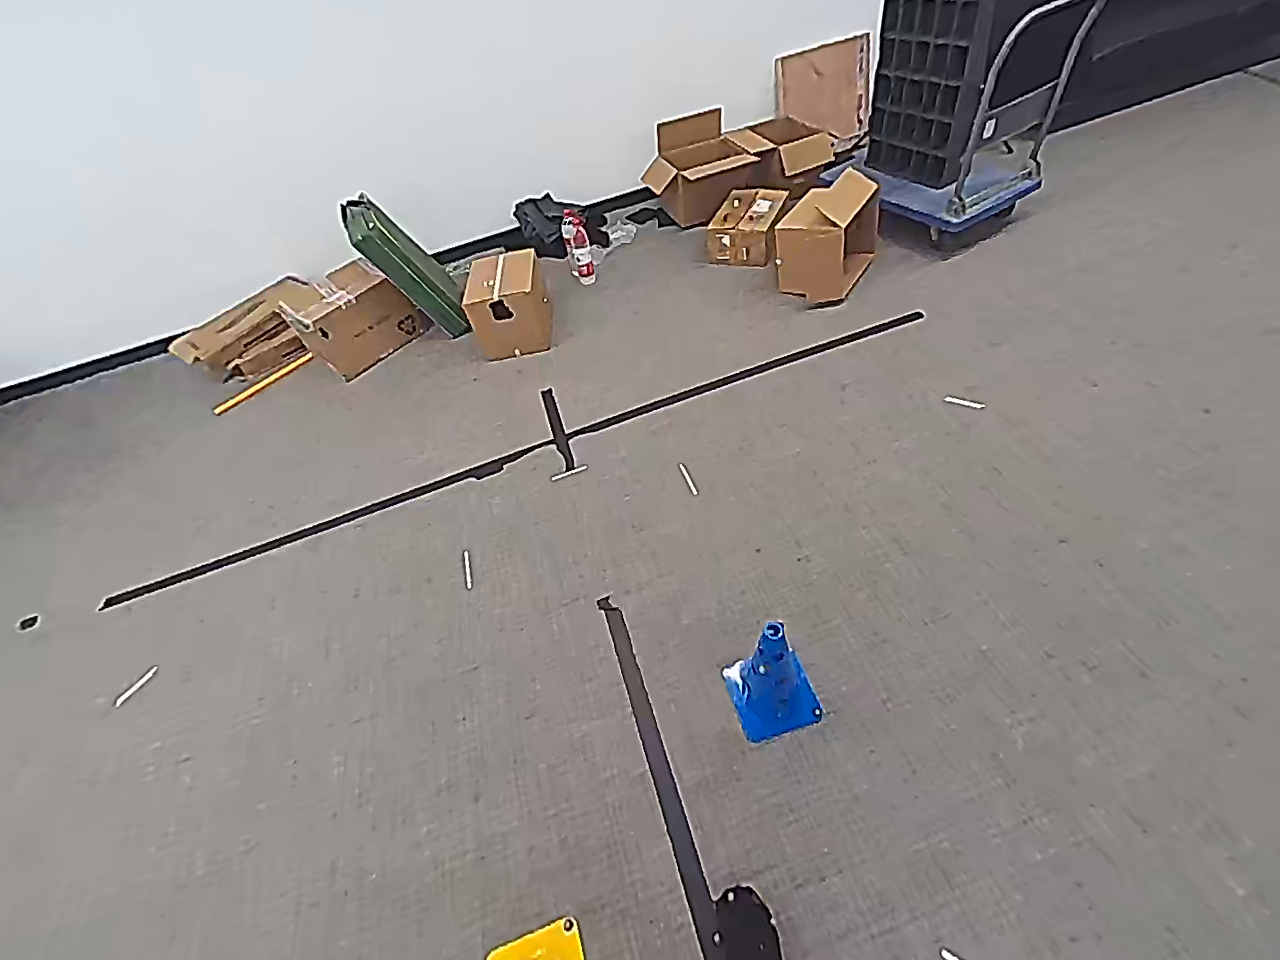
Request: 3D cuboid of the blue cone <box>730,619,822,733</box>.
[{"bbox_3d":[0.313,0.425,1.251,0.192,0.380,0.193,-15,48,-2],"label":"blue cone"}]
